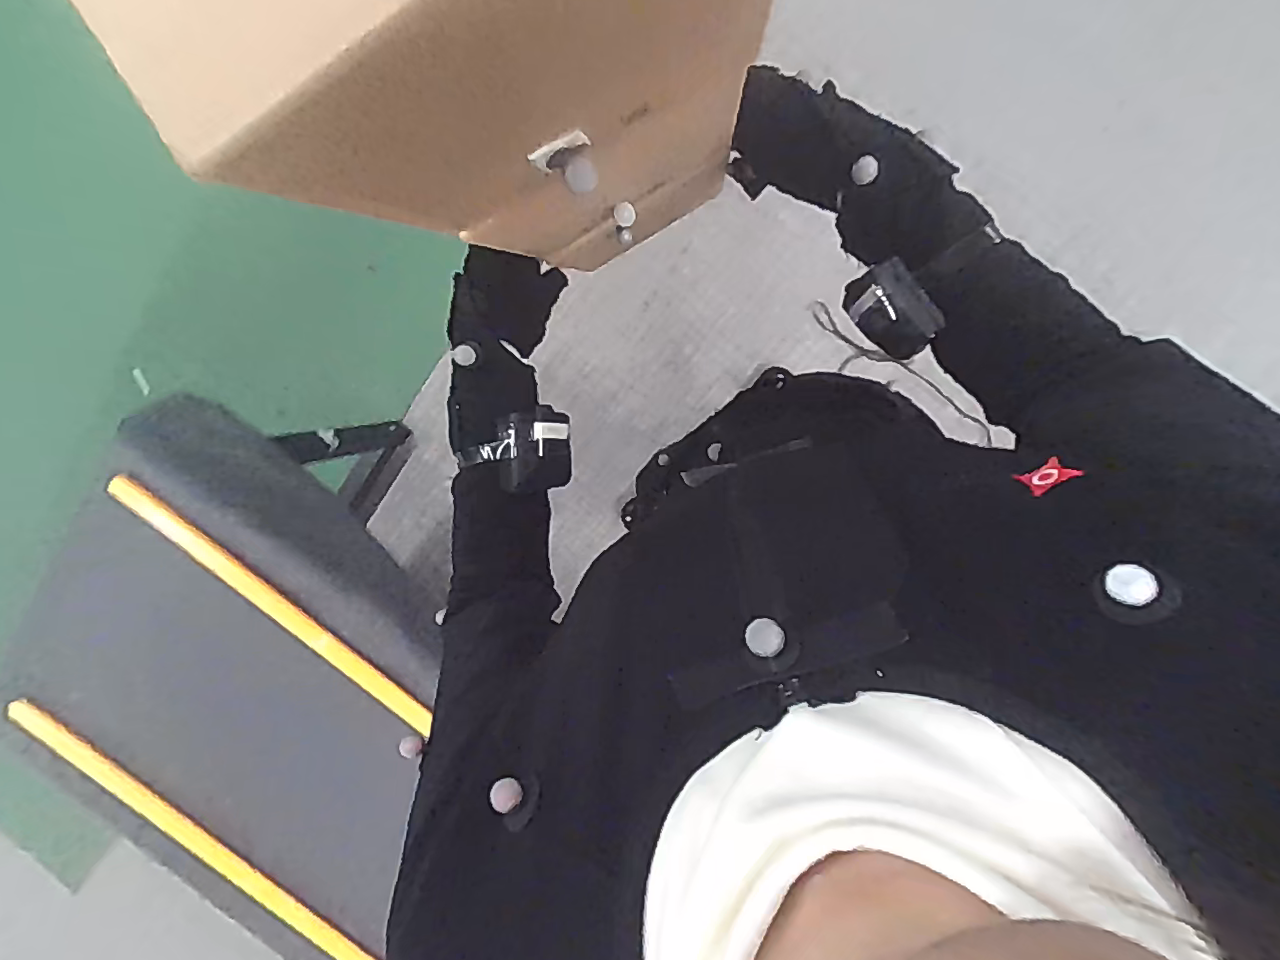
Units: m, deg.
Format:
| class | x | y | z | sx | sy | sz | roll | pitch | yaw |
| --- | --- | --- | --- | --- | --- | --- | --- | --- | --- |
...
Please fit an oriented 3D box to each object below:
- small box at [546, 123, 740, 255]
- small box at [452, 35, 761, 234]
| class | x | y | z | sx | sy | sz | roll | pitch | yaw |
| --- | --- | --- | --- | --- | --- | --- | --- | --- | --- |
| small box | -0.026 | -0.321 | 0.473 | 0.168 | 0.176 | 0.179 | -25 | 104 | 15 |
| small box | -0.045 | -0.270 | 0.317 | 0.168 | 0.176 | 0.179 | -24 | 105 | 14 |
